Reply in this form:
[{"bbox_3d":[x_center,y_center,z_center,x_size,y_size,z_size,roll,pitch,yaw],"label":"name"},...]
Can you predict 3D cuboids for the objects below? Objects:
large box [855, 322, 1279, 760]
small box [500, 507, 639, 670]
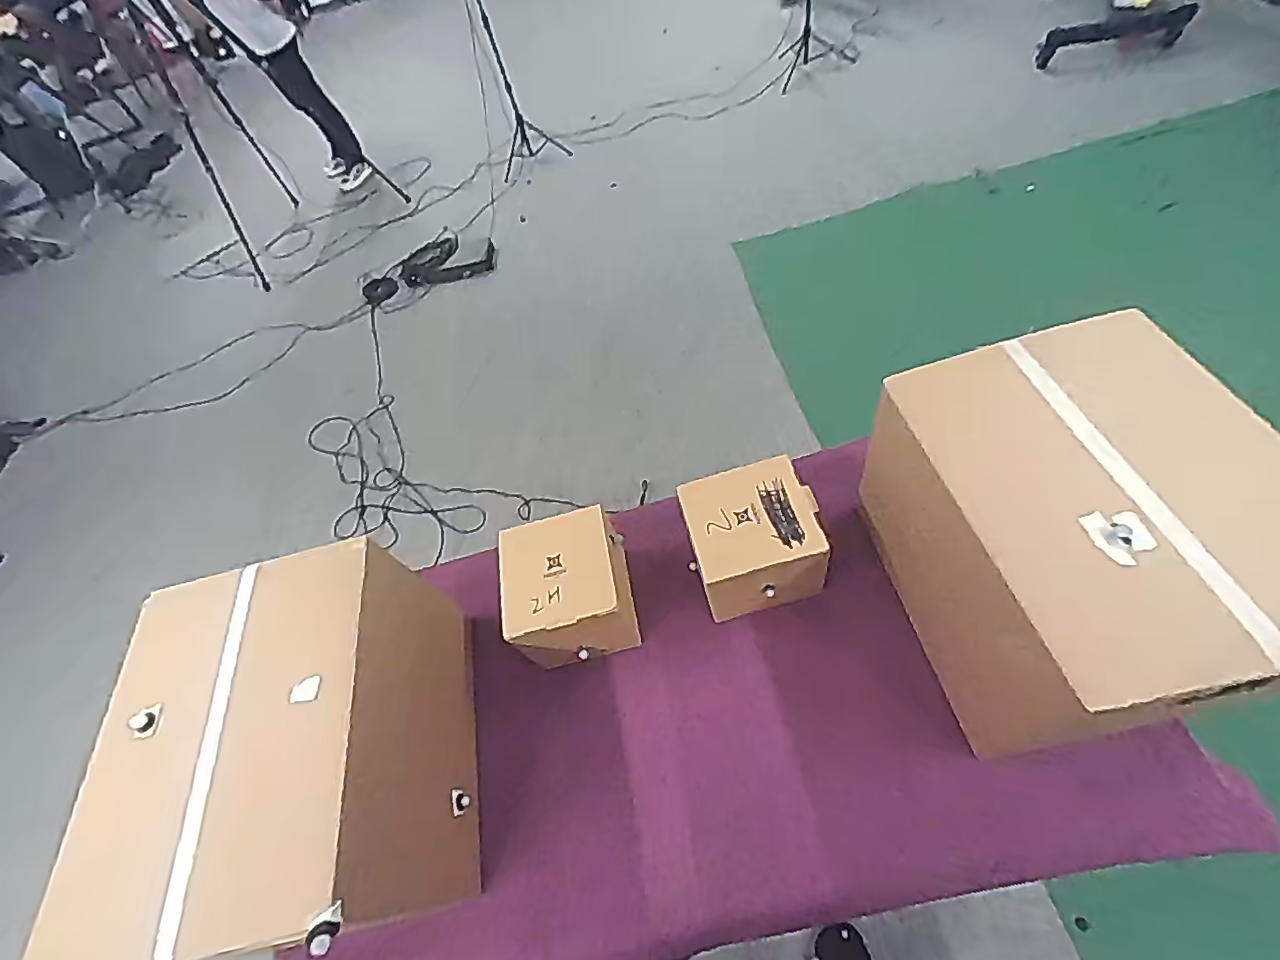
[{"bbox_3d":[0.513,0.083,0.671,0.320,0.320,0.408,-16,55,4],"label":"large box"},{"bbox_3d":[-0.107,0.173,0.840,0.168,0.176,0.179,-16,55,4],"label":"small box"}]
